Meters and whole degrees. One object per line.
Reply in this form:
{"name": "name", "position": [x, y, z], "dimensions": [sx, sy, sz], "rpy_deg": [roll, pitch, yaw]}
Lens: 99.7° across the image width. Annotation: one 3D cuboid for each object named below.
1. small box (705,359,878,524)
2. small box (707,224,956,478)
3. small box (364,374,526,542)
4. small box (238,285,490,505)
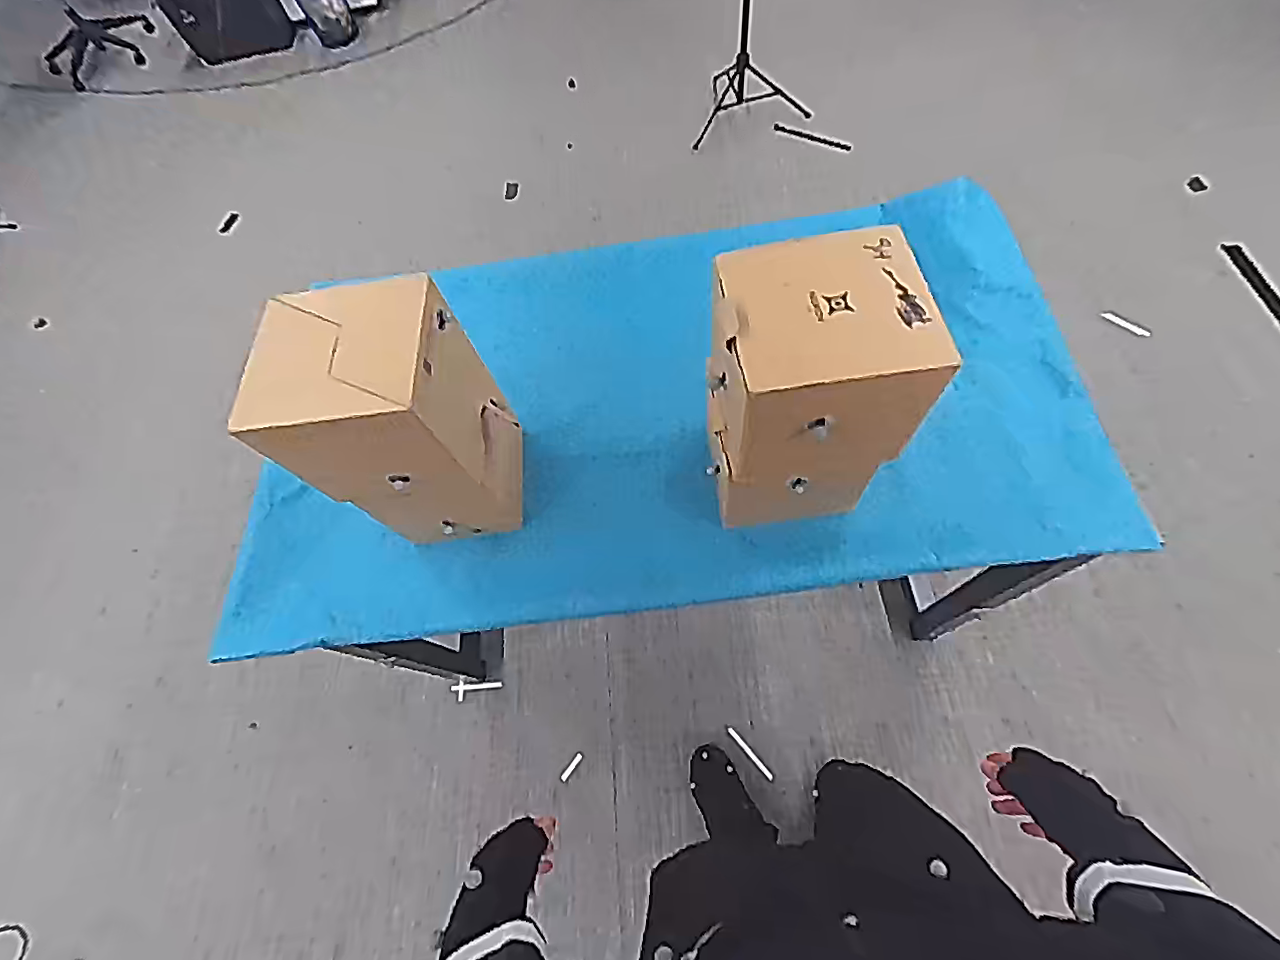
{"name": "small box", "position": [0.183, -0.052, 0.692], "dimensions": [0.179, 0.176, 0.168], "rpy_deg": [-8, 64, 5]}
{"name": "small box", "position": [0.169, -0.117, 0.543], "dimensions": [0.179, 0.176, 0.168], "rpy_deg": [-11, 63, 2]}
{"name": "small box", "position": [-0.263, -0.026, 0.746], "dimensions": [0.168, 0.176, 0.179], "rpy_deg": [-6, 66, 7]}
{"name": "small box", "position": [-0.281, -0.087, 0.591], "dimensions": [0.179, 0.176, 0.168], "rpy_deg": [-6, 64, 5]}
